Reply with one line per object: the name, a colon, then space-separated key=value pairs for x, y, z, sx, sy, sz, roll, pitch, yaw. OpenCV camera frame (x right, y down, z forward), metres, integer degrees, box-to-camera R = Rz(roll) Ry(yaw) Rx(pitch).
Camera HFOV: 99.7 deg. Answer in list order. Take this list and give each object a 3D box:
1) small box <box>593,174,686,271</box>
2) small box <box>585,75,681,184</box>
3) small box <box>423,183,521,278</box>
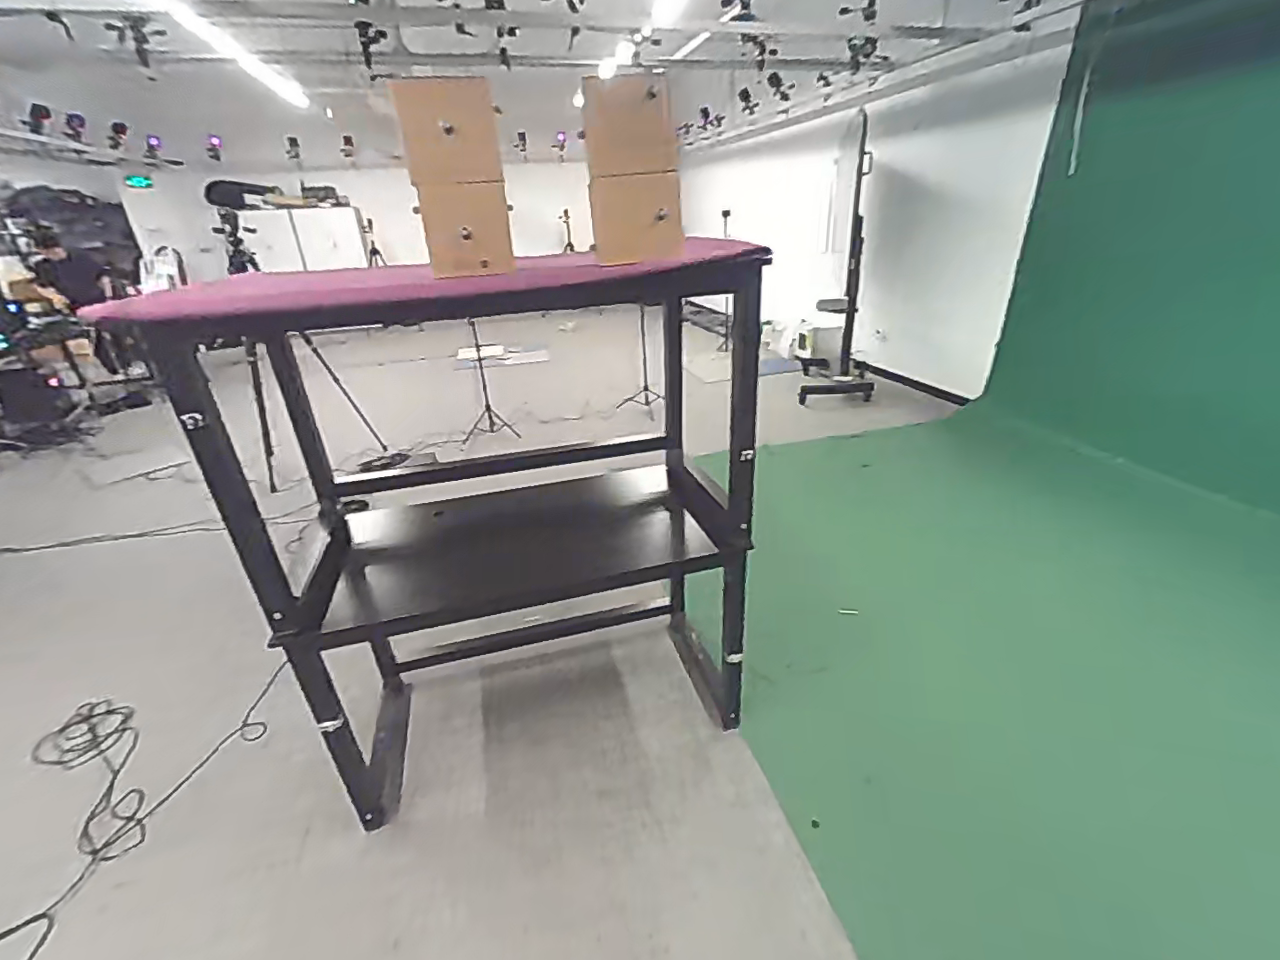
small box: x=-0.001 y=-0.557 z=1.178 sx=0.179 sy=0.176 sz=0.168 roll=-9 pitch=23 yaw=-7
small box: x=-0.016 y=-0.708 z=1.118 sx=0.179 sy=0.176 sz=0.168 roll=-6 pitch=23 yaw=-5
small box: x=-0.347 y=-0.521 z=1.137 sx=0.168 sy=0.176 sz=0.179 roll=-8 pitch=26 yaw=-13
